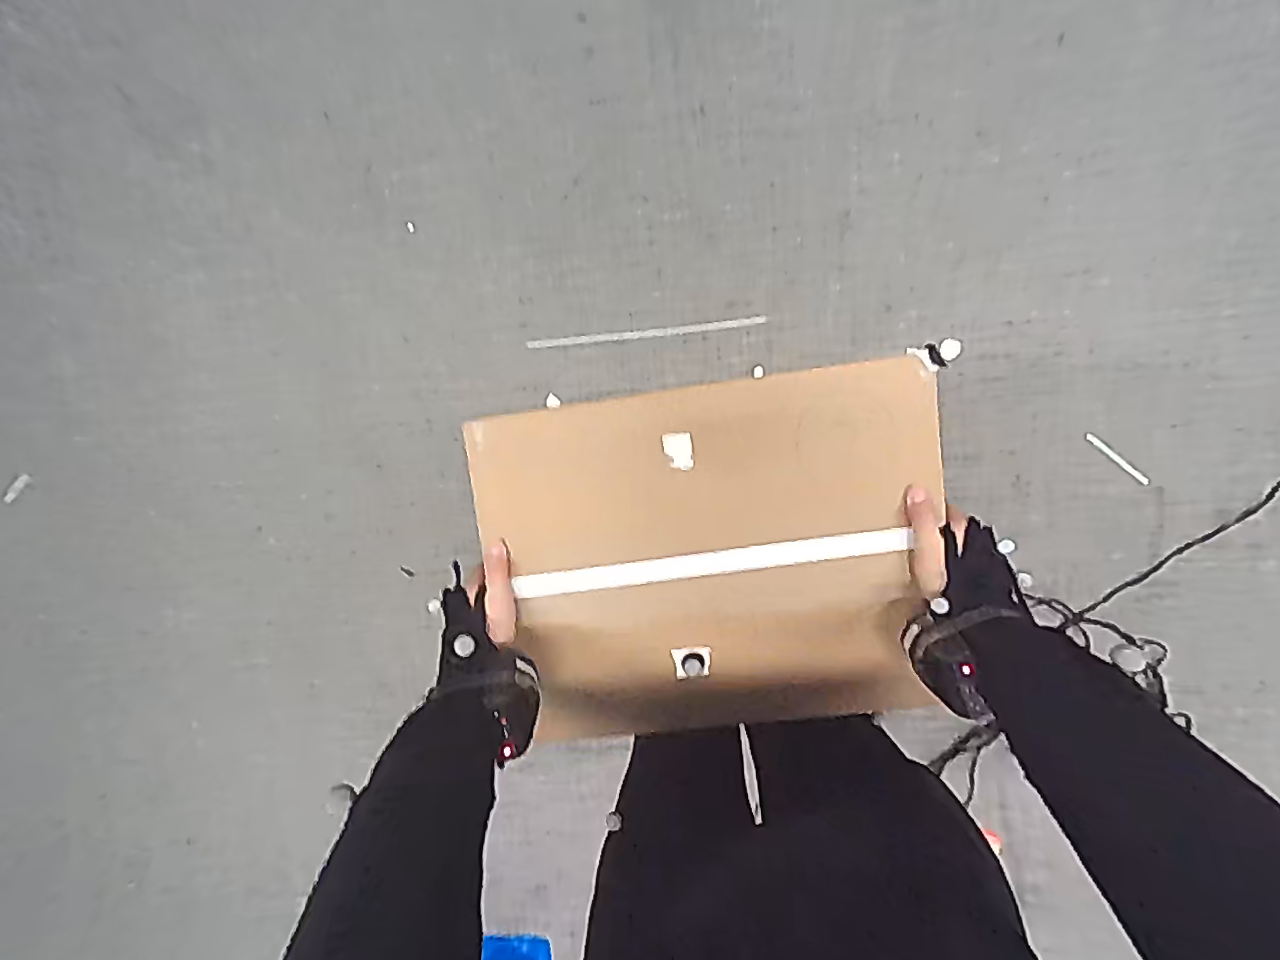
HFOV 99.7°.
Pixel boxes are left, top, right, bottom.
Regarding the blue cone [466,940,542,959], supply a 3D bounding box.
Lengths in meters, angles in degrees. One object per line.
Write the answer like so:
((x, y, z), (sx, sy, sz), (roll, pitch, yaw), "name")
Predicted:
((-0.340, 1.203, 1.125), (0.192, 0.380, 0.193), (-3, 96, 9), "blue cone")
